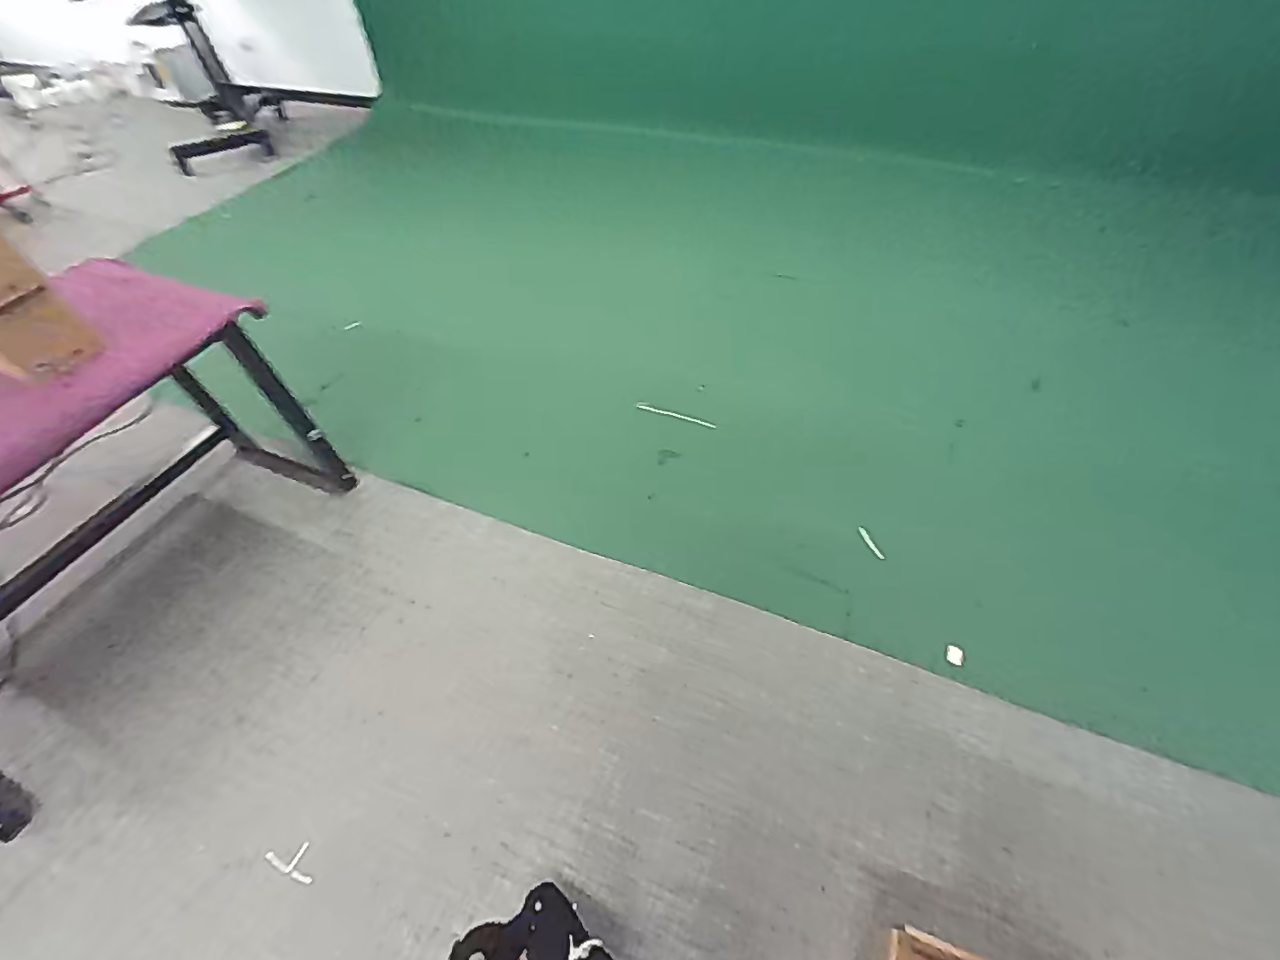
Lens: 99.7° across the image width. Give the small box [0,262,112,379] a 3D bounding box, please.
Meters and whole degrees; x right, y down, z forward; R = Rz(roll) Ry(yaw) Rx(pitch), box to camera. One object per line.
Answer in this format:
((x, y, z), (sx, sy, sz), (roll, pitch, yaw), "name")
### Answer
((-1.341, -0.346, 1.188), (0.179, 0.176, 0.168), (22, 55, 20), "small box")
